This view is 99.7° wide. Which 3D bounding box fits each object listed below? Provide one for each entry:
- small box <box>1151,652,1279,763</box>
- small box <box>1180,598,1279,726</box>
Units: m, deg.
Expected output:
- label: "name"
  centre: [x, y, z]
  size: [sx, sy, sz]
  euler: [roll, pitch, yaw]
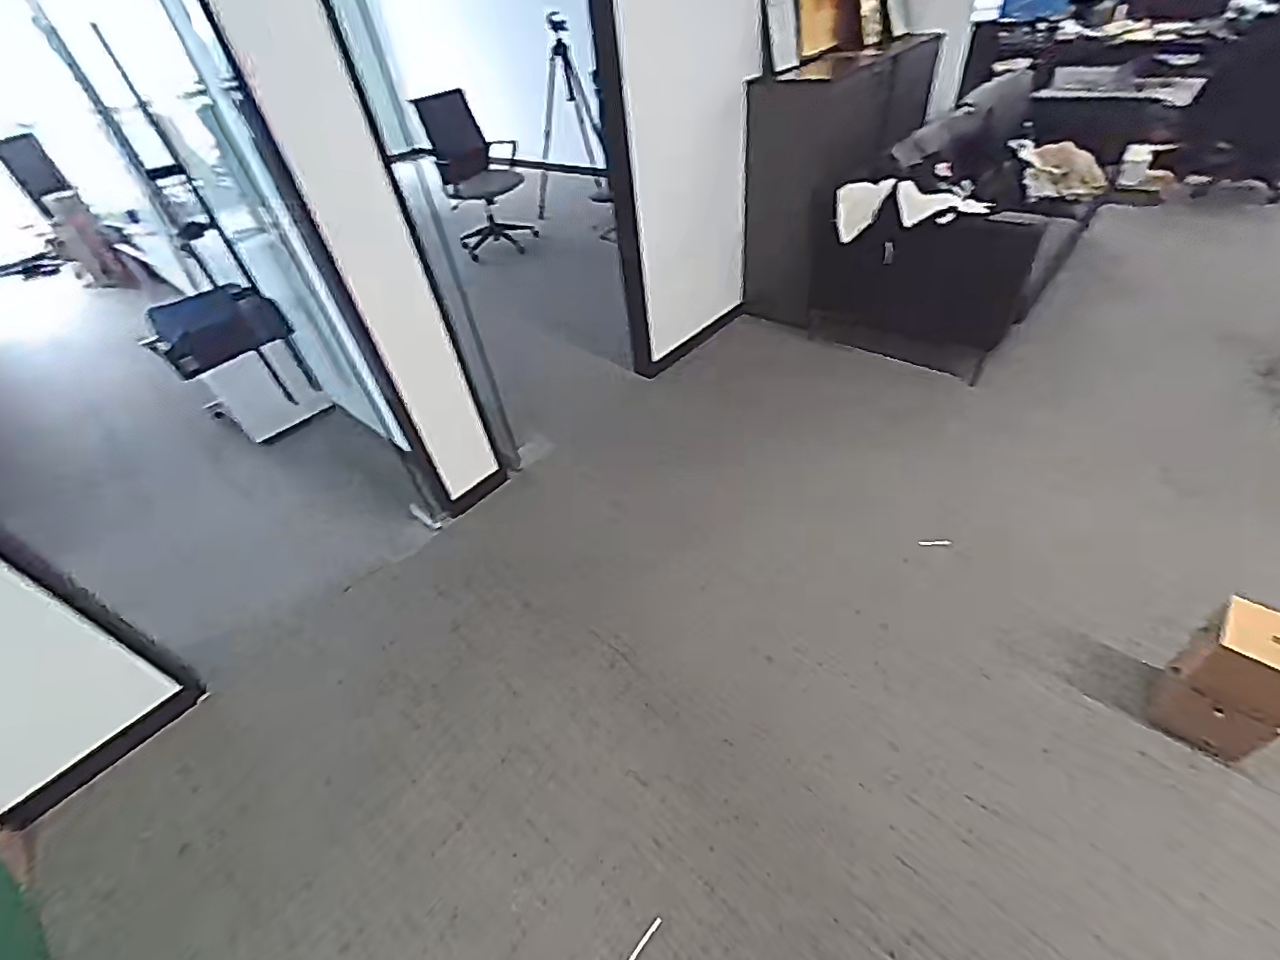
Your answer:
- label: "small box"
  centre: [1.374, 0.529, 1.290]
  size: [0.168, 0.176, 0.179]
  euler: [28, 53, 33]
- label: "small box"
  centre: [1.349, 0.403, 1.189]
  size: [0.179, 0.176, 0.168]
  euler: [28, 54, 33]
